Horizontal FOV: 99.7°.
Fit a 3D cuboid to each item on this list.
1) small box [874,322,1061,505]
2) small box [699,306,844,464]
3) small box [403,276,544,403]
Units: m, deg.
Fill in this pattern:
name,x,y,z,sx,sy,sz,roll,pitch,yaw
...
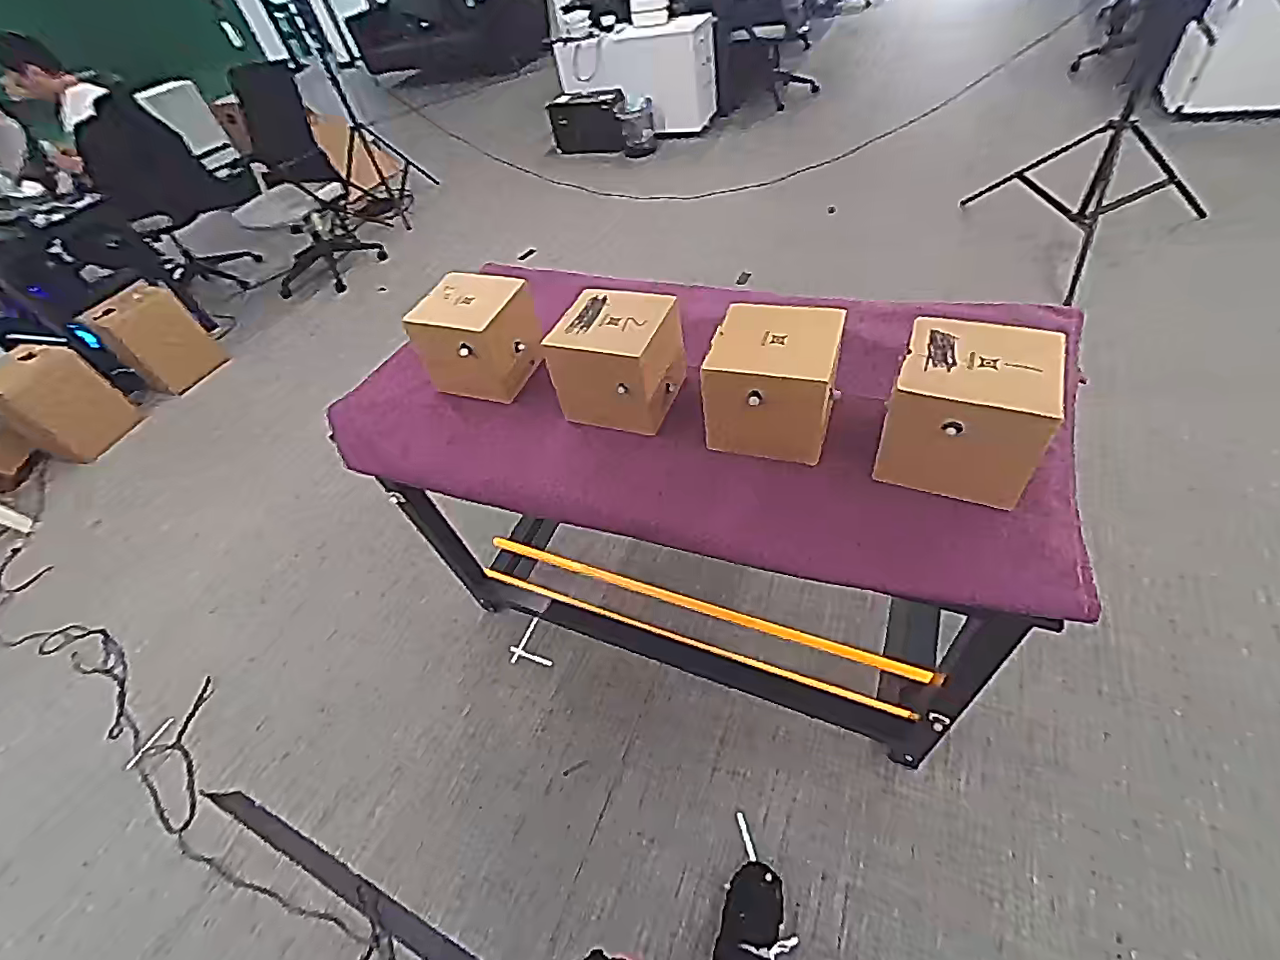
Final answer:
name,x,y,z,sx,sy,sz,roll,pitch,yaw
small box,0.431,-0.089,0.732,0.179,0.176,0.168,16,54,24
small box,0.205,-0.145,0.835,0.179,0.176,0.168,10,53,21
small box,-0.309,-0.269,1.047,0.179,0.176,0.168,12,53,18
